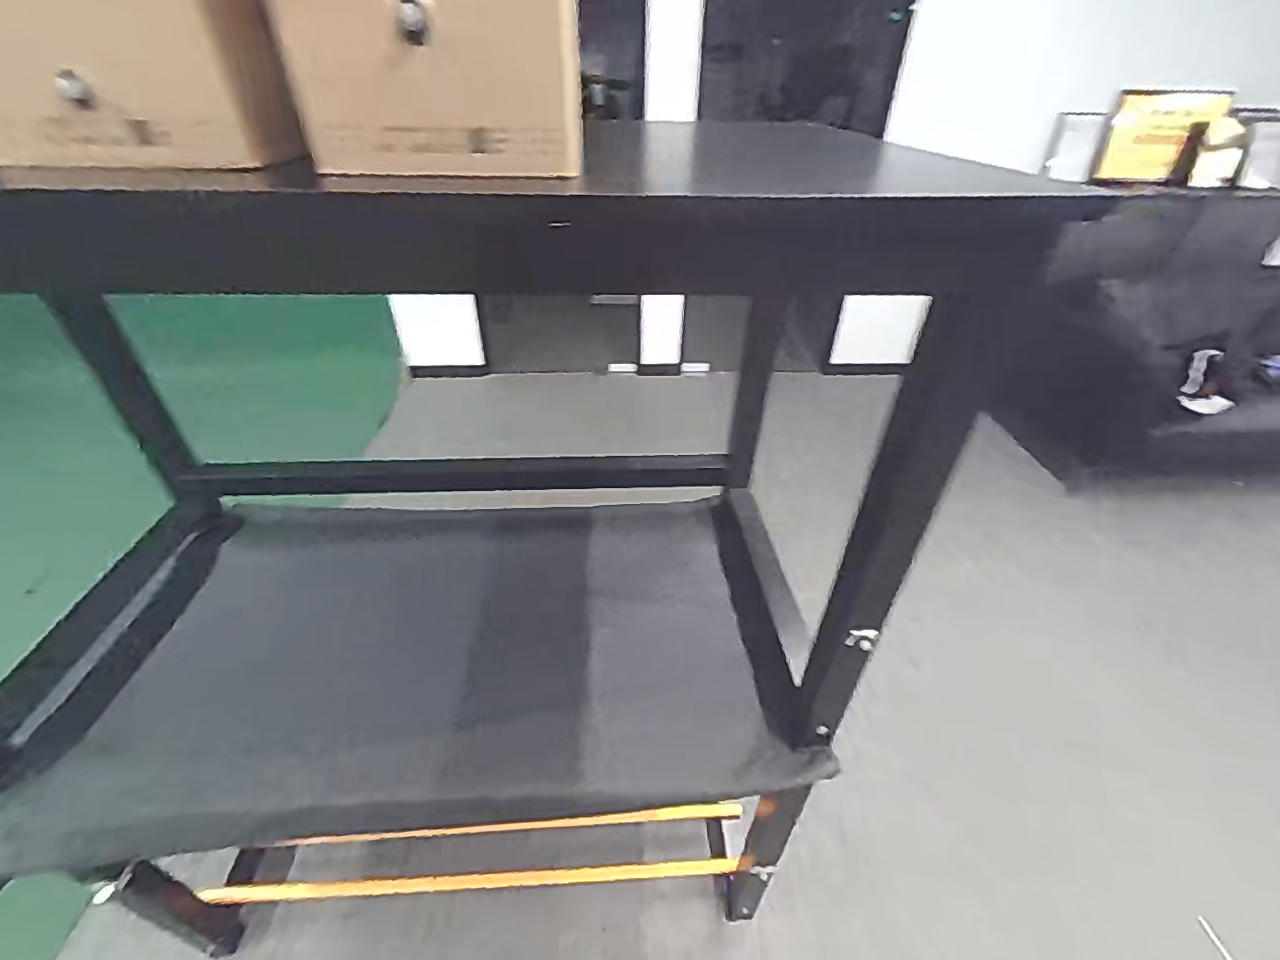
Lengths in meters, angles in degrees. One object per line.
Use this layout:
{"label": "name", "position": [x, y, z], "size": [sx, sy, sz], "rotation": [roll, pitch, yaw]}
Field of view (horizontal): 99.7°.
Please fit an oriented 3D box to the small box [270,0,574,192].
{"label": "small box", "position": [-0.134, -0.309, 0.381], "size": [0.168, 0.176, 0.179], "rotation": [-1, 37, -5]}
